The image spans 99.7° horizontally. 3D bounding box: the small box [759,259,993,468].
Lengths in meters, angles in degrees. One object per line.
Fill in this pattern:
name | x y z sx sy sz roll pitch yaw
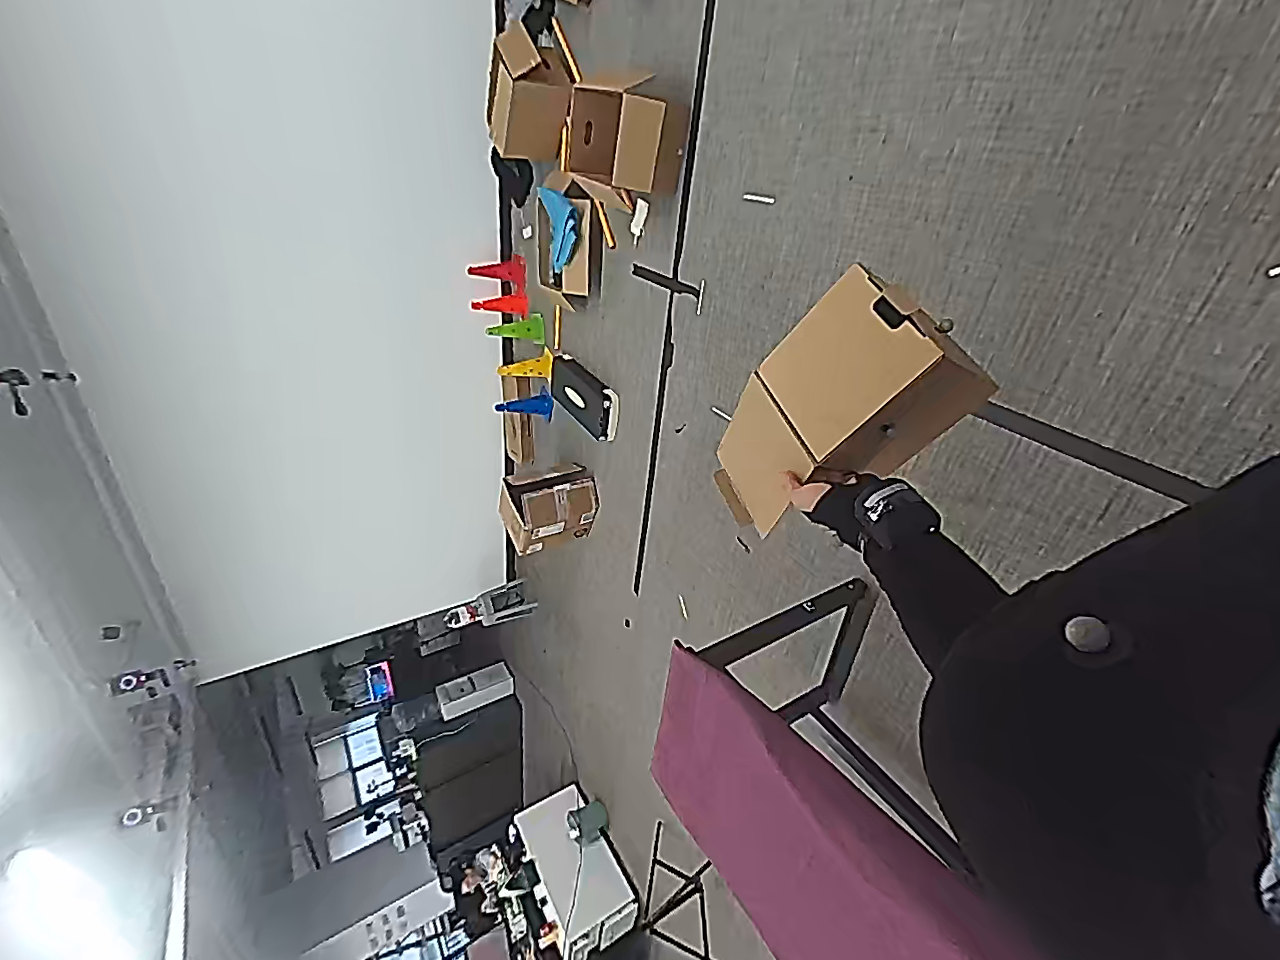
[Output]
small box | 0.290 -0.131 0.676 0.179 0.176 0.168 -48 51 35
